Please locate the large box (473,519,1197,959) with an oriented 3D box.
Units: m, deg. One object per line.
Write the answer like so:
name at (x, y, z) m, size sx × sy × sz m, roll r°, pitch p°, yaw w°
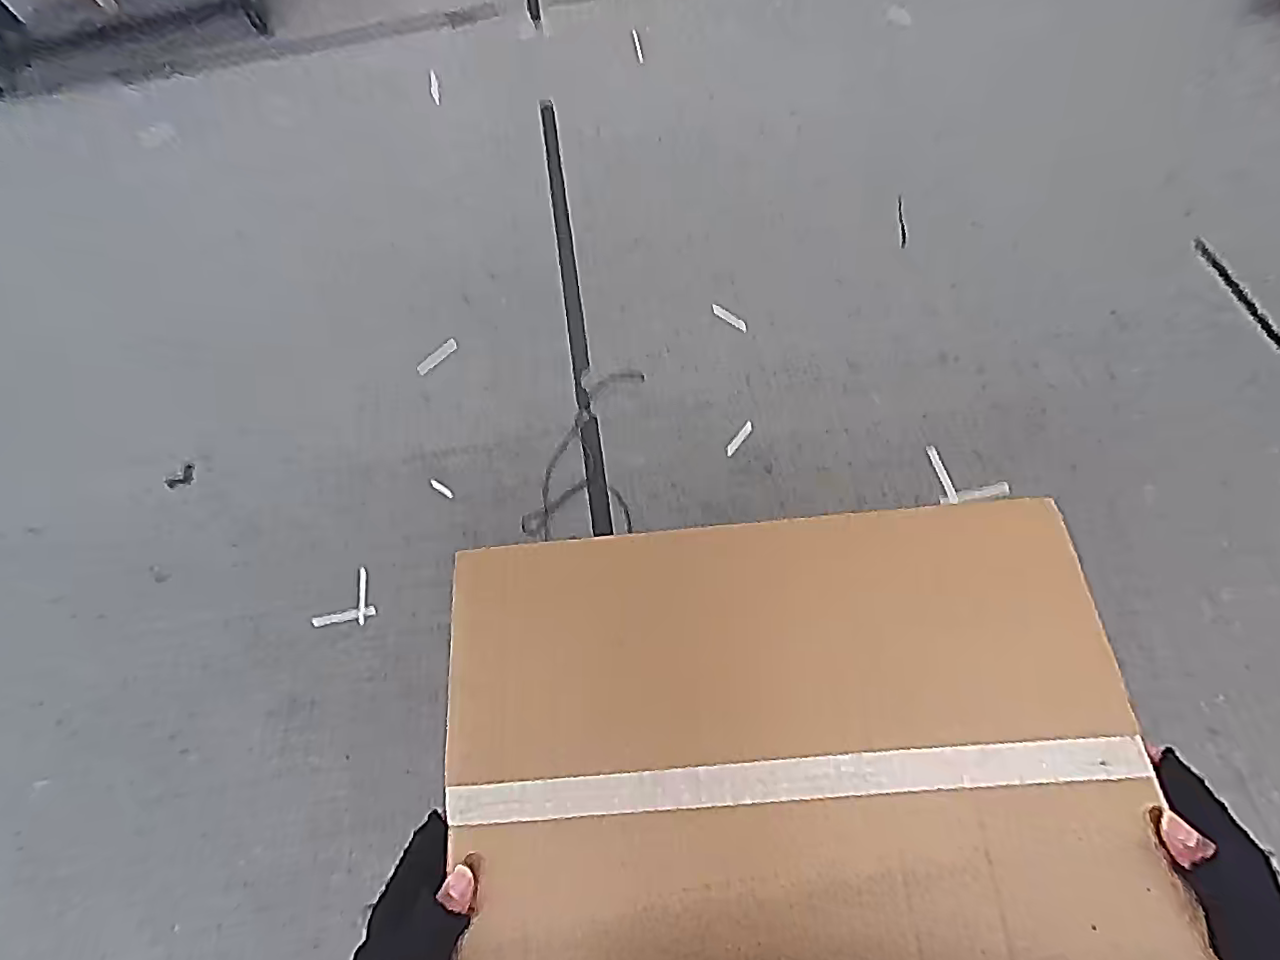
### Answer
large box at (0.104, 0.241, 0.469) m, size 0.408 × 0.320 × 0.320 m, roll -6°, pitch 71°, yaw 3°
